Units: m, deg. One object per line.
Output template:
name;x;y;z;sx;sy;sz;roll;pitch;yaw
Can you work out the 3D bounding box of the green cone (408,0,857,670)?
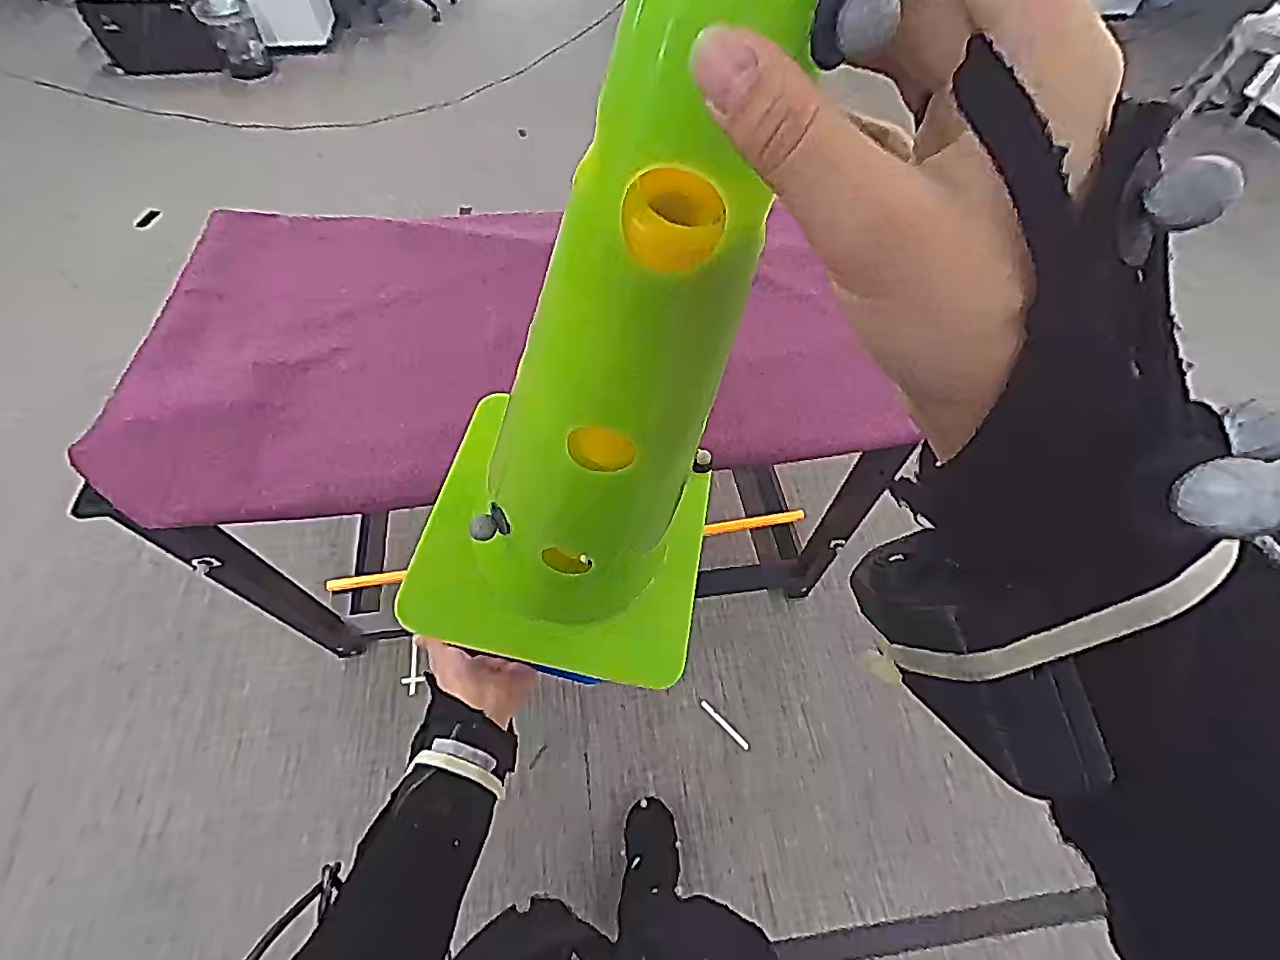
green cone;-0.007;-0.054;0.252;0.200;0.368;0.202;14;61;-6
